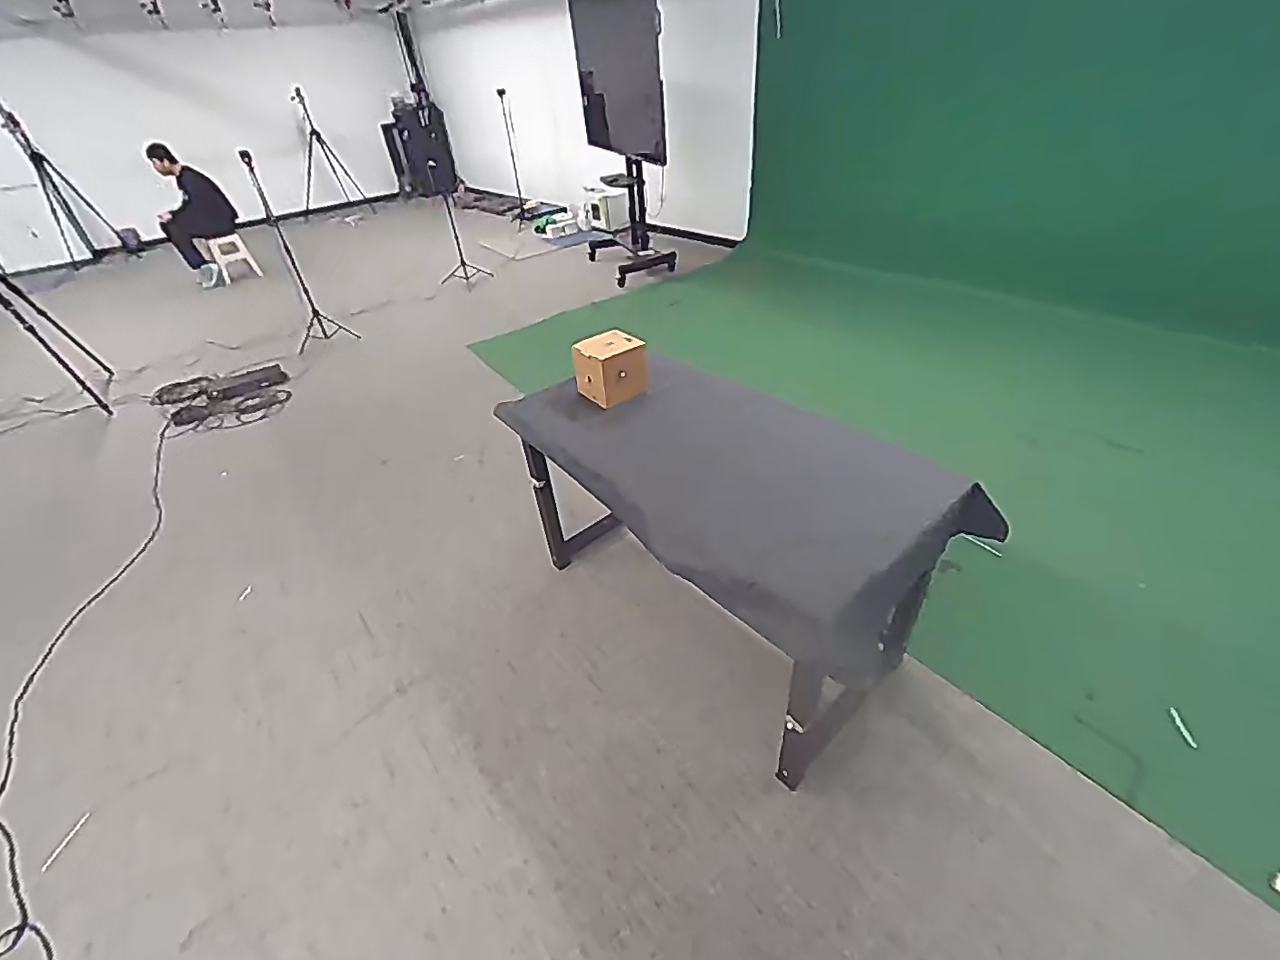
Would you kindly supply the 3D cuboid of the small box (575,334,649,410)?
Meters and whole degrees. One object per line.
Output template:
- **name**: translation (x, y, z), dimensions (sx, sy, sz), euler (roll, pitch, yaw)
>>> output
- **small box**: translation (-0.083, -0.346, 1.743), dimensions (0.179, 0.176, 0.168), euler (-28, 44, -27)
